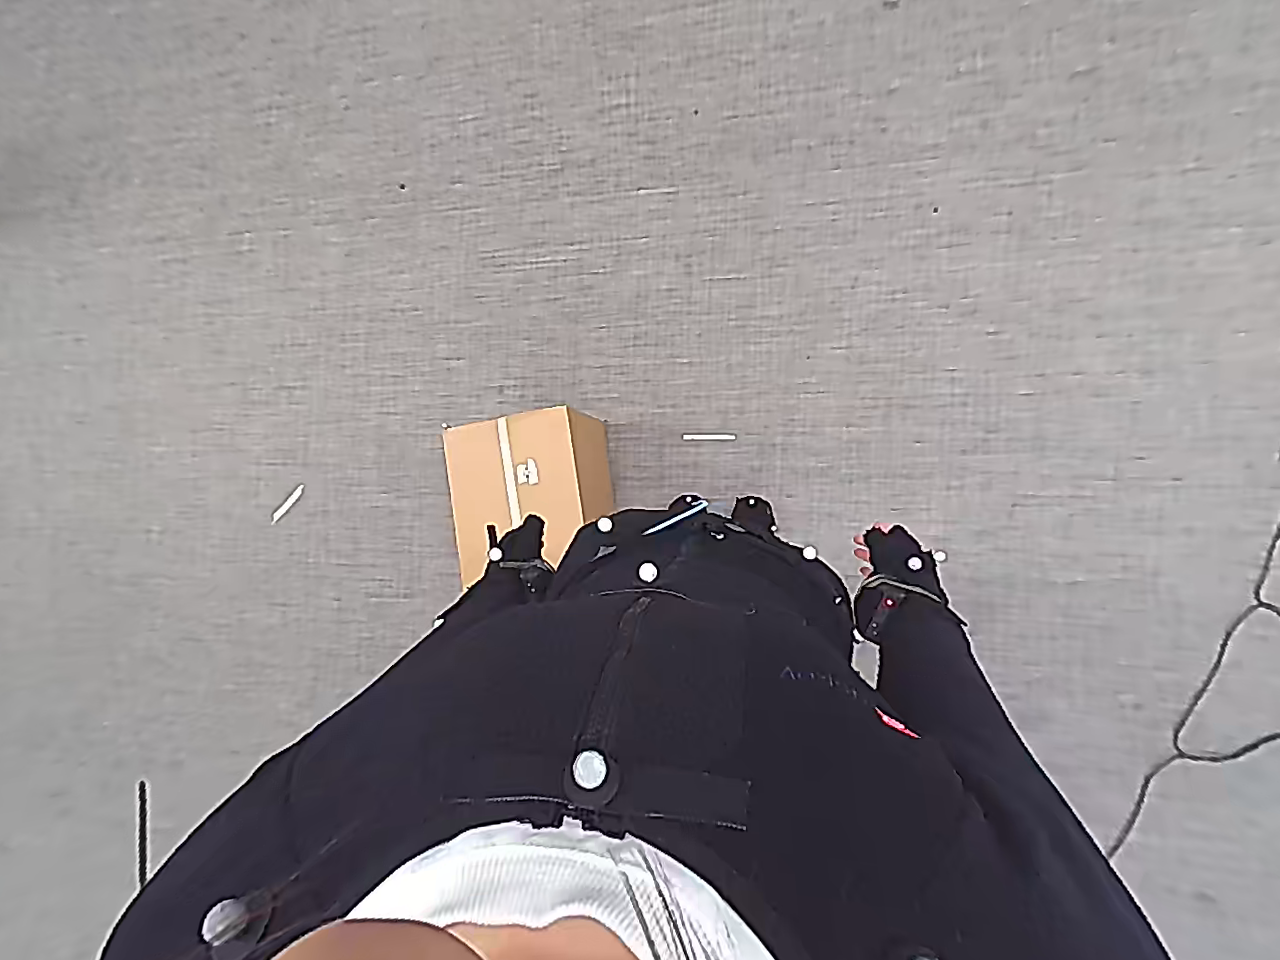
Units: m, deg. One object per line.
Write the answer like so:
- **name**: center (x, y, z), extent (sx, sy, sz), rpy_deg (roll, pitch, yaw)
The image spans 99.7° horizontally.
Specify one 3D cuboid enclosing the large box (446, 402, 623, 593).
- **large box**: center (-0.251, 0.048, 1.381), extent (0.320, 0.320, 0.408), rpy_deg (-9, 87, 10)
